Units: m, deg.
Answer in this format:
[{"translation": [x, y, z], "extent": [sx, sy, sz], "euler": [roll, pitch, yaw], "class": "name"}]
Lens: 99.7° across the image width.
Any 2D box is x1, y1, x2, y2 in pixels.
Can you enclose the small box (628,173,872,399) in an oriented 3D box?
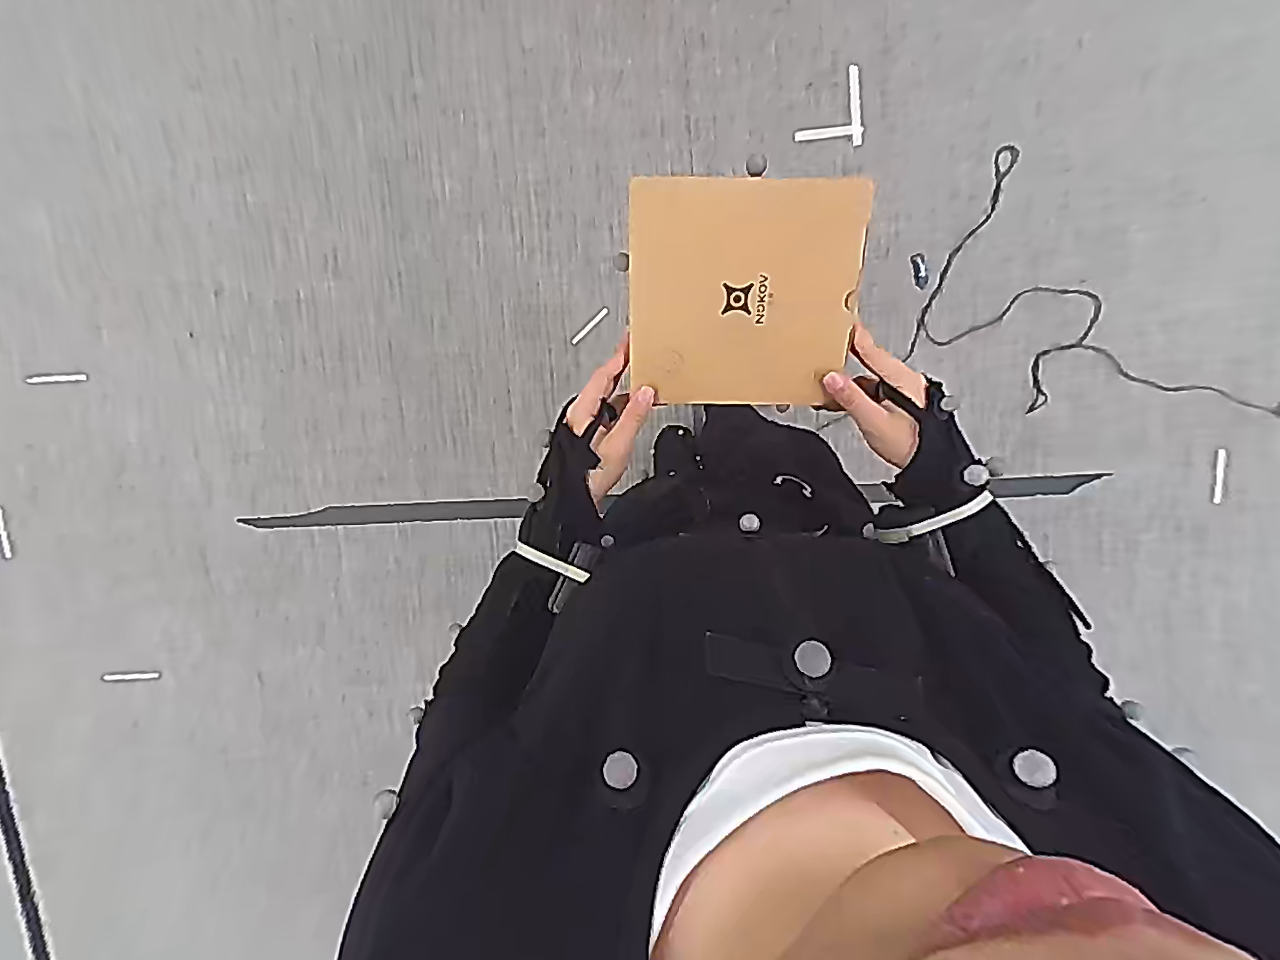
[{"translation": [0.080, -0.177, 0.494], "extent": [0.179, 0.176, 0.168], "euler": [0, 115, 0], "class": "small box"}]
